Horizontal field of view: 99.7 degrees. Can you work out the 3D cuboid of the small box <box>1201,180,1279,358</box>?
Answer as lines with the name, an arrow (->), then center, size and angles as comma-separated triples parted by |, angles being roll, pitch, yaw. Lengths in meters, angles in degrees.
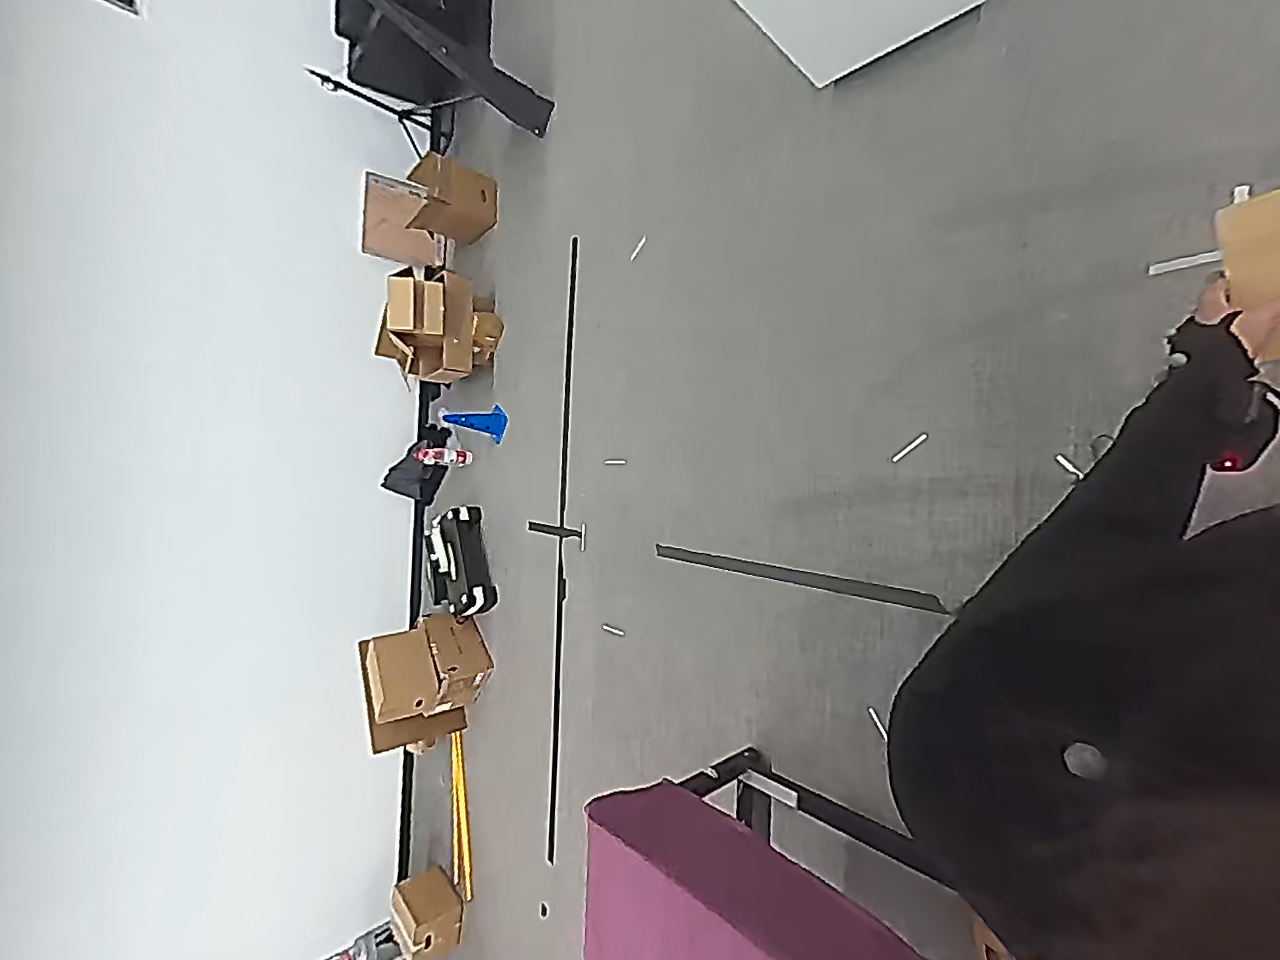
small box -> 0.714, -0.225, 0.549 | 0.179, 0.176, 0.168 | -11, 91, 49
